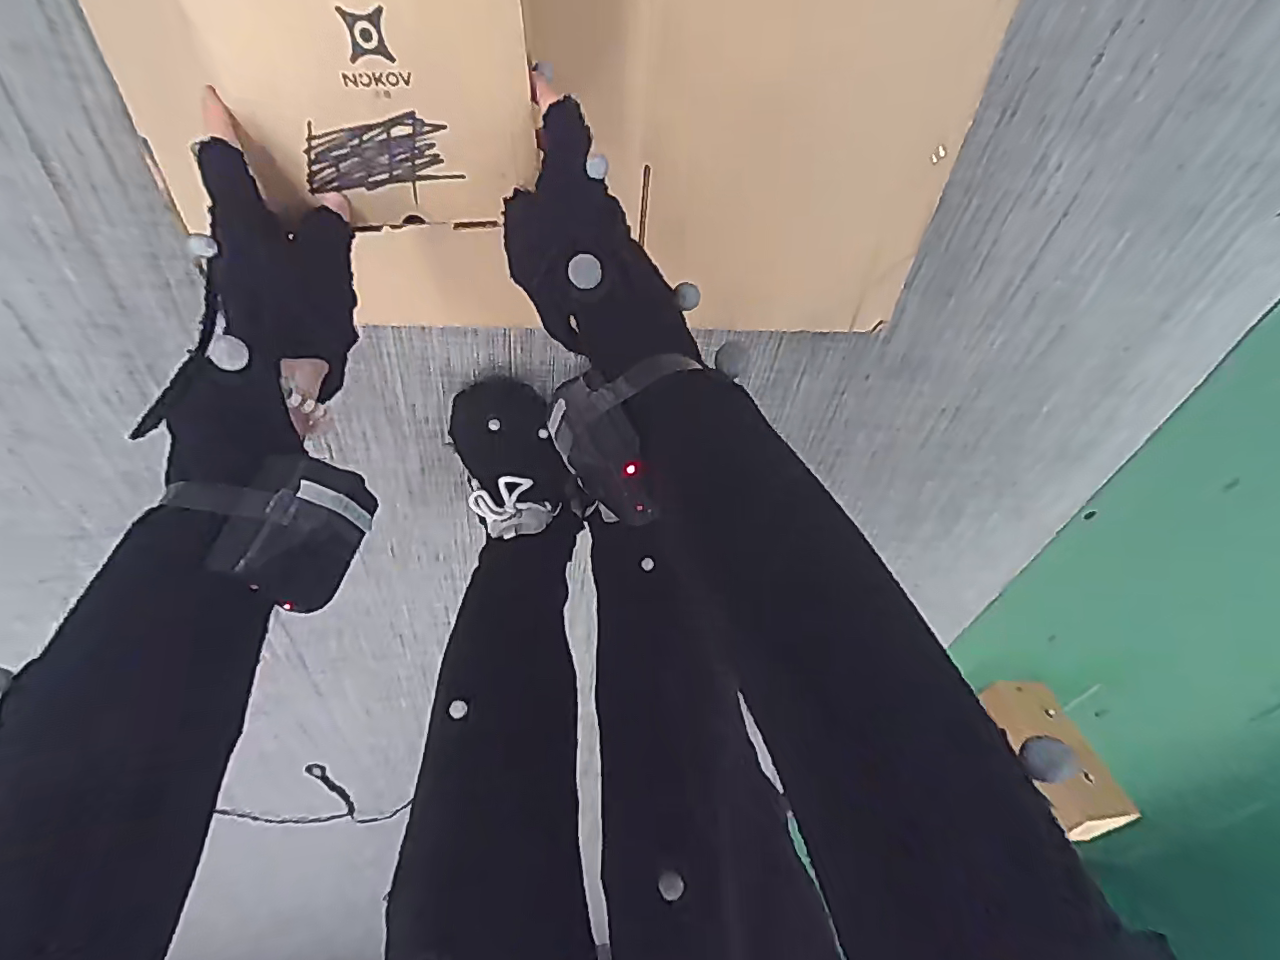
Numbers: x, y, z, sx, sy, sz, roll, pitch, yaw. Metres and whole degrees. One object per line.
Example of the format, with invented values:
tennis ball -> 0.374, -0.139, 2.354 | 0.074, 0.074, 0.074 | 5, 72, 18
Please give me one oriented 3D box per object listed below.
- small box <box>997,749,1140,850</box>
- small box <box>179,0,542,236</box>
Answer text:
small box -> 1.024, 0.768, 1.311 | 0.168, 0.176, 0.179 | 4, 132, -14
small box -> -0.154, -0.276, 0.347 | 0.168, 0.176, 0.179 | -5, 132, -6
